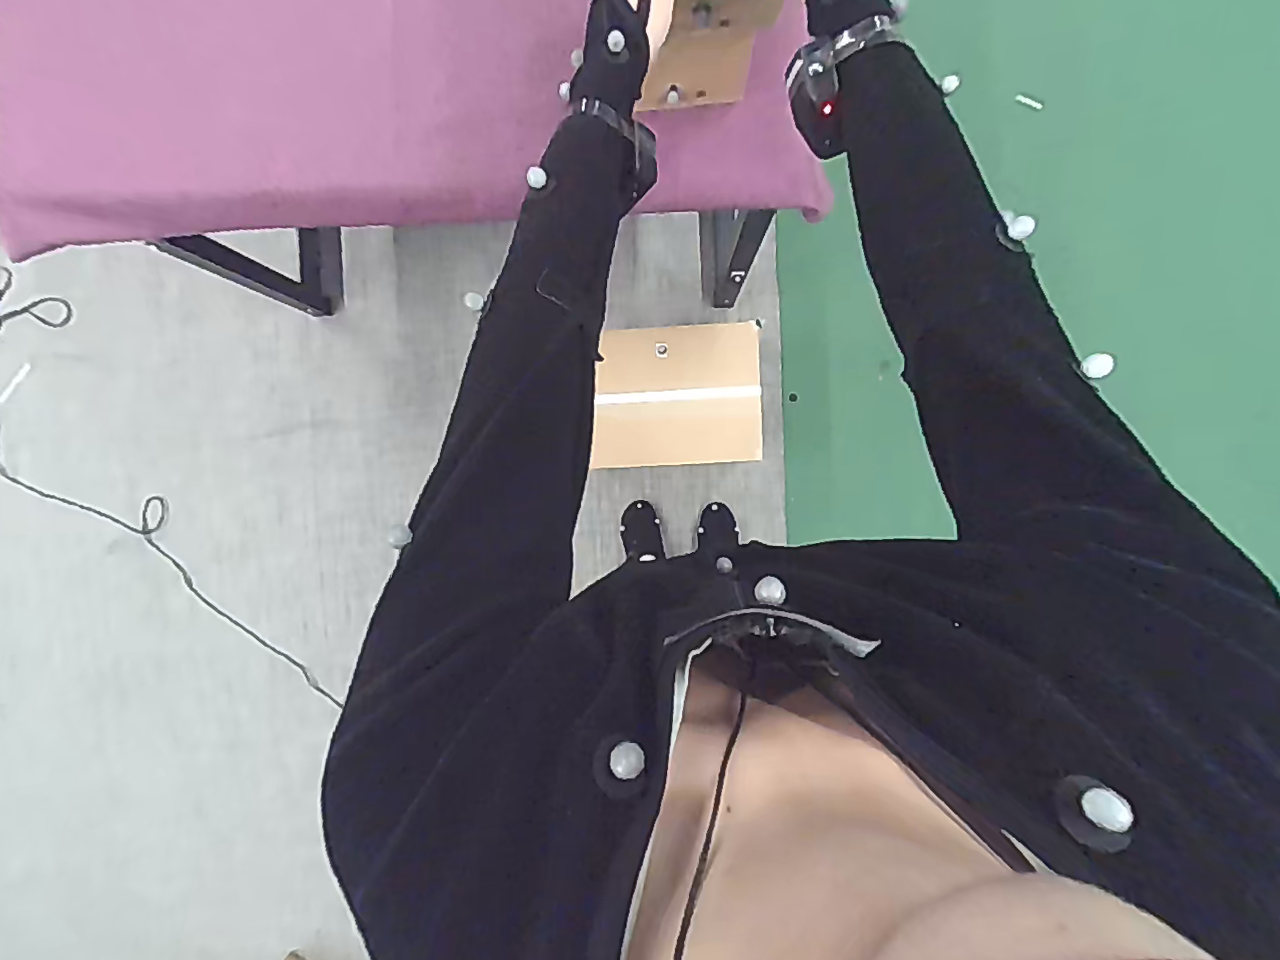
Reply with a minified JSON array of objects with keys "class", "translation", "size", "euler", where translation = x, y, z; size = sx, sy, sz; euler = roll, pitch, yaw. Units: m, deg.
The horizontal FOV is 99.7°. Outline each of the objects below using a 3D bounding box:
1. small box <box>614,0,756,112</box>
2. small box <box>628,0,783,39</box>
[{"class":"small box","translation":[0.051,-0.607,0.677],"size":[0.168,0.176,0.179],"euler":[-4,92,4]},{"class":"small box","translation":[0.062,-0.564,0.506],"size":[0.168,0.176,0.179],"euler":[-4,102,3]}]
